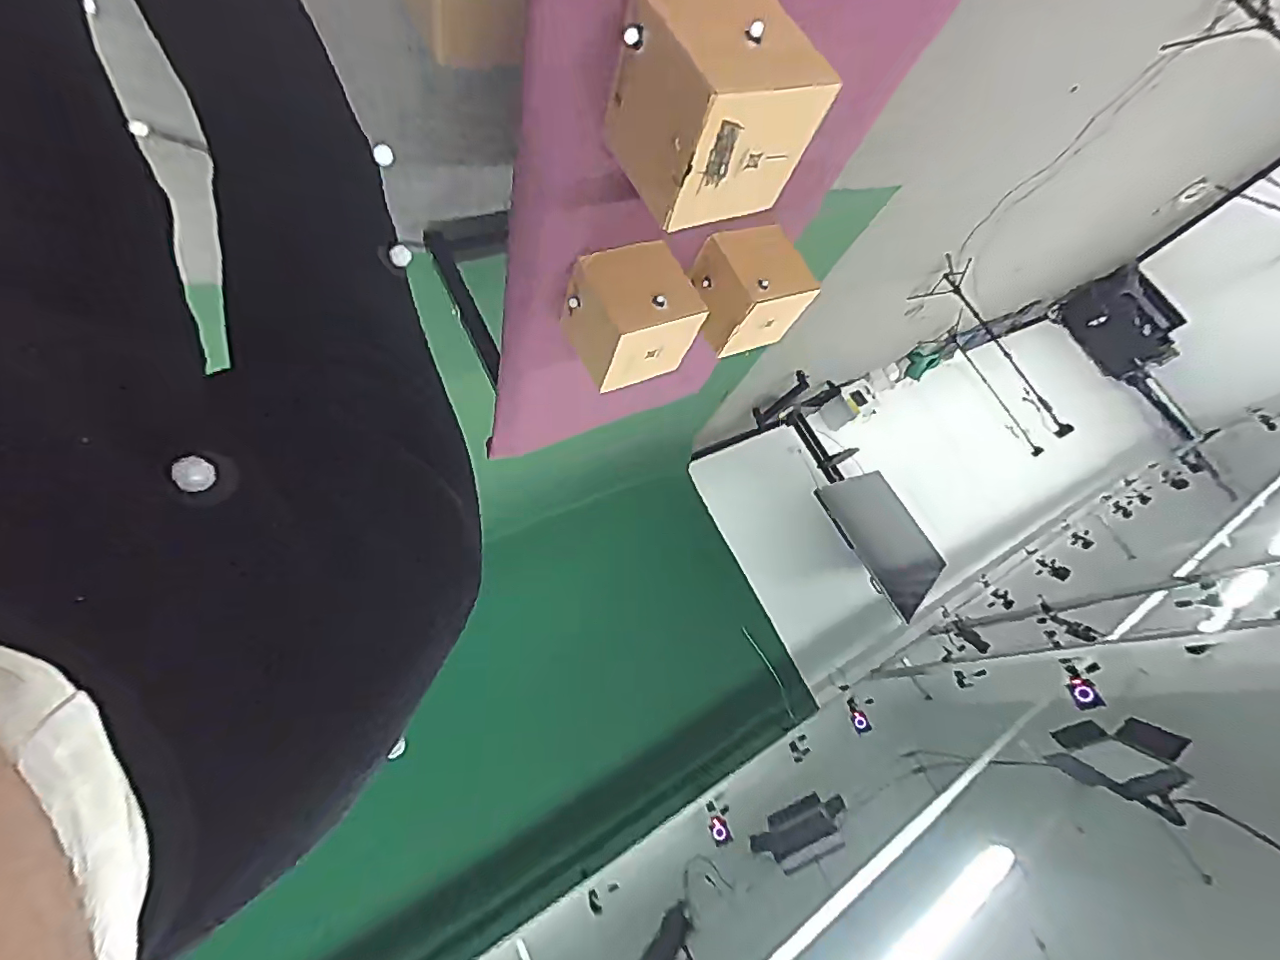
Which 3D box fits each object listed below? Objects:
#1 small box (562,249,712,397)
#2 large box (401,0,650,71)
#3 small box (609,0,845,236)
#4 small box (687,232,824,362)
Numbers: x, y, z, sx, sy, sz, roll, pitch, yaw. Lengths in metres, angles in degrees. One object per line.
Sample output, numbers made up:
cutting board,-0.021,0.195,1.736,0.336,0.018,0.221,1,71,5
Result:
small box,-0.012,-0.276,0.940,0.179,0.176,0.168,-22,164,-26
large box,-0.209,-0.957,0.905,0.408,0.320,0.320,-23,165,-24
small box,0.085,-0.419,0.622,0.179,0.176,0.168,-24,166,-24
small box,0.216,-0.364,1.067,0.179,0.176,0.168,-20,164,-26
